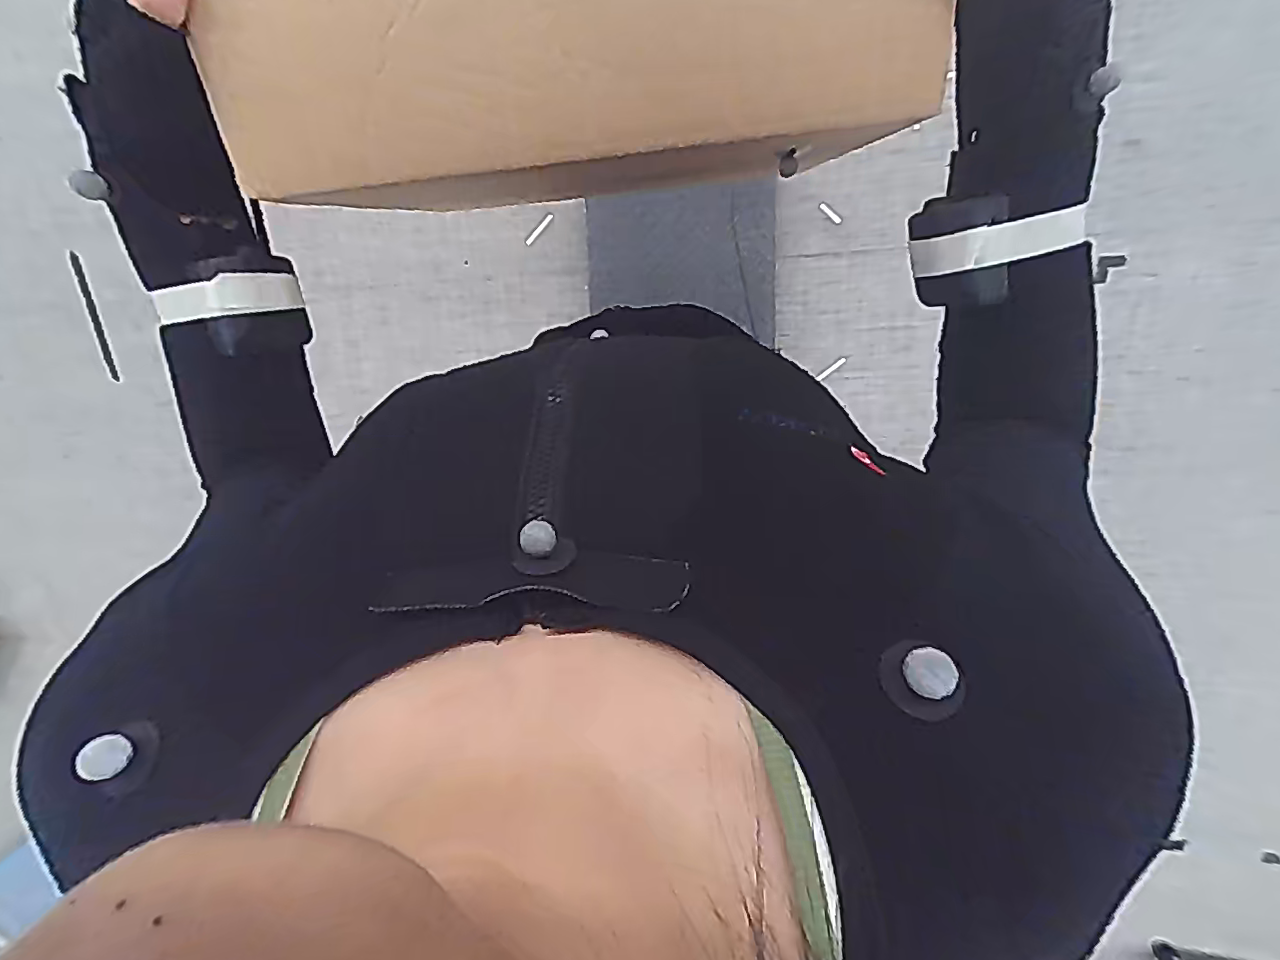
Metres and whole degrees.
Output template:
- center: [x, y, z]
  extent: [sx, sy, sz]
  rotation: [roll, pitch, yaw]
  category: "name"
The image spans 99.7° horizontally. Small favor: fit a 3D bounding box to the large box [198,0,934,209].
- center: [-0.043, -0.393, 0.395]
  extent: [0.408, 0.320, 0.320]
  rotation: [-4, 114, 5]
  category: "large box"
